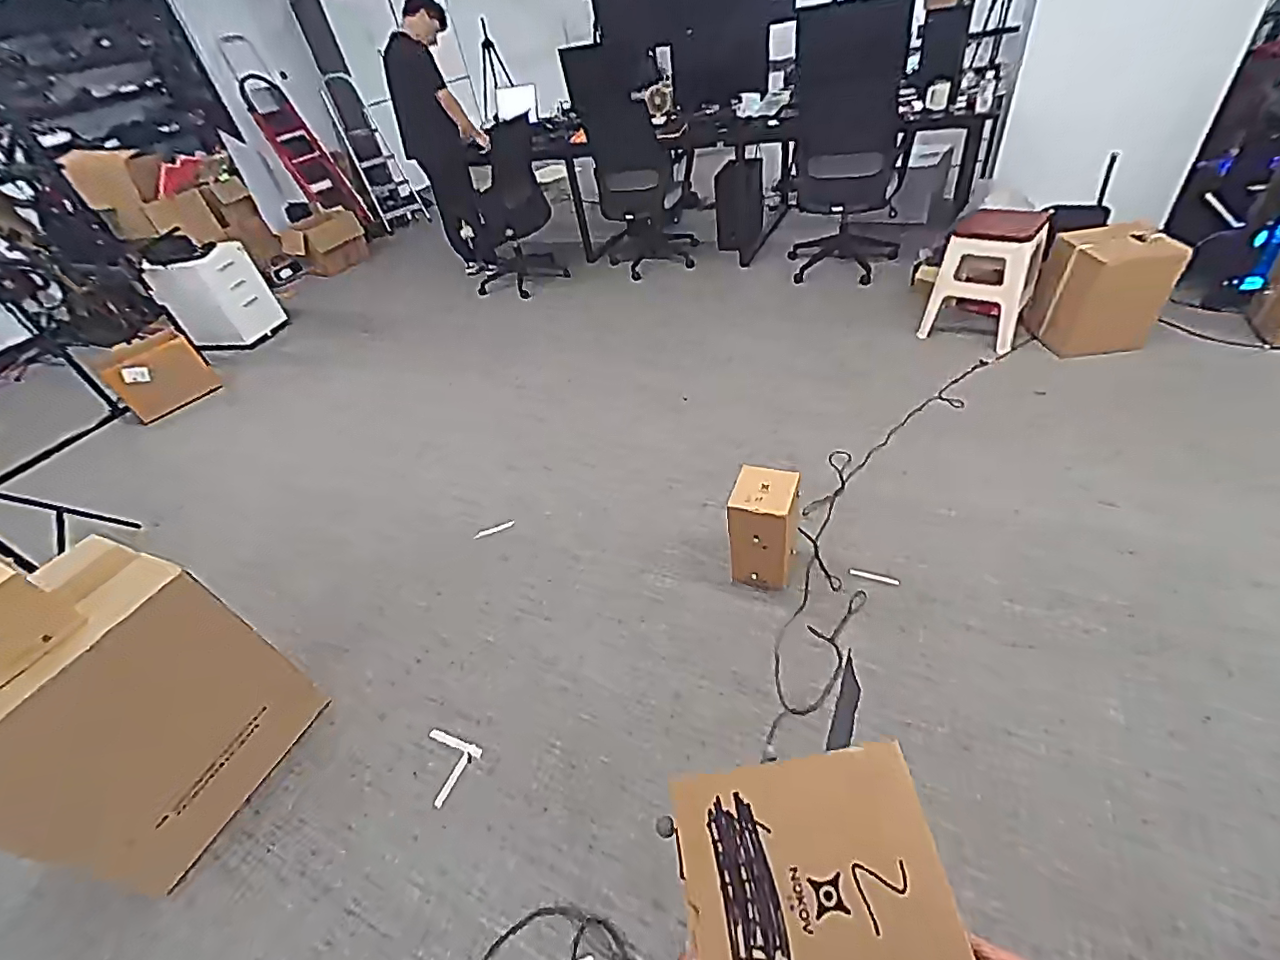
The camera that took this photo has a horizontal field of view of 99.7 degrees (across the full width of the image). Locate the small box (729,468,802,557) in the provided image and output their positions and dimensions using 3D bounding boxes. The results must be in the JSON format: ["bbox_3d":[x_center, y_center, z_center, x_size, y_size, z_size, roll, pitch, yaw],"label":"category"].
[{"bbox_3d":[0.362,0.092,1.557,0.168,0.176,0.179,9,46,24],"label":"small box"}]

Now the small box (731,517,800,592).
[{"bbox_3d":[0.388,0.213,1.666,0.168,0.176,0.179,11,47,25],"label":"small box"}]

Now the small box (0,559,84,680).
[{"bbox_3d":[-1.262,0.268,1.053,0.179,0.176,0.168,11,46,25],"label":"small box"}]
